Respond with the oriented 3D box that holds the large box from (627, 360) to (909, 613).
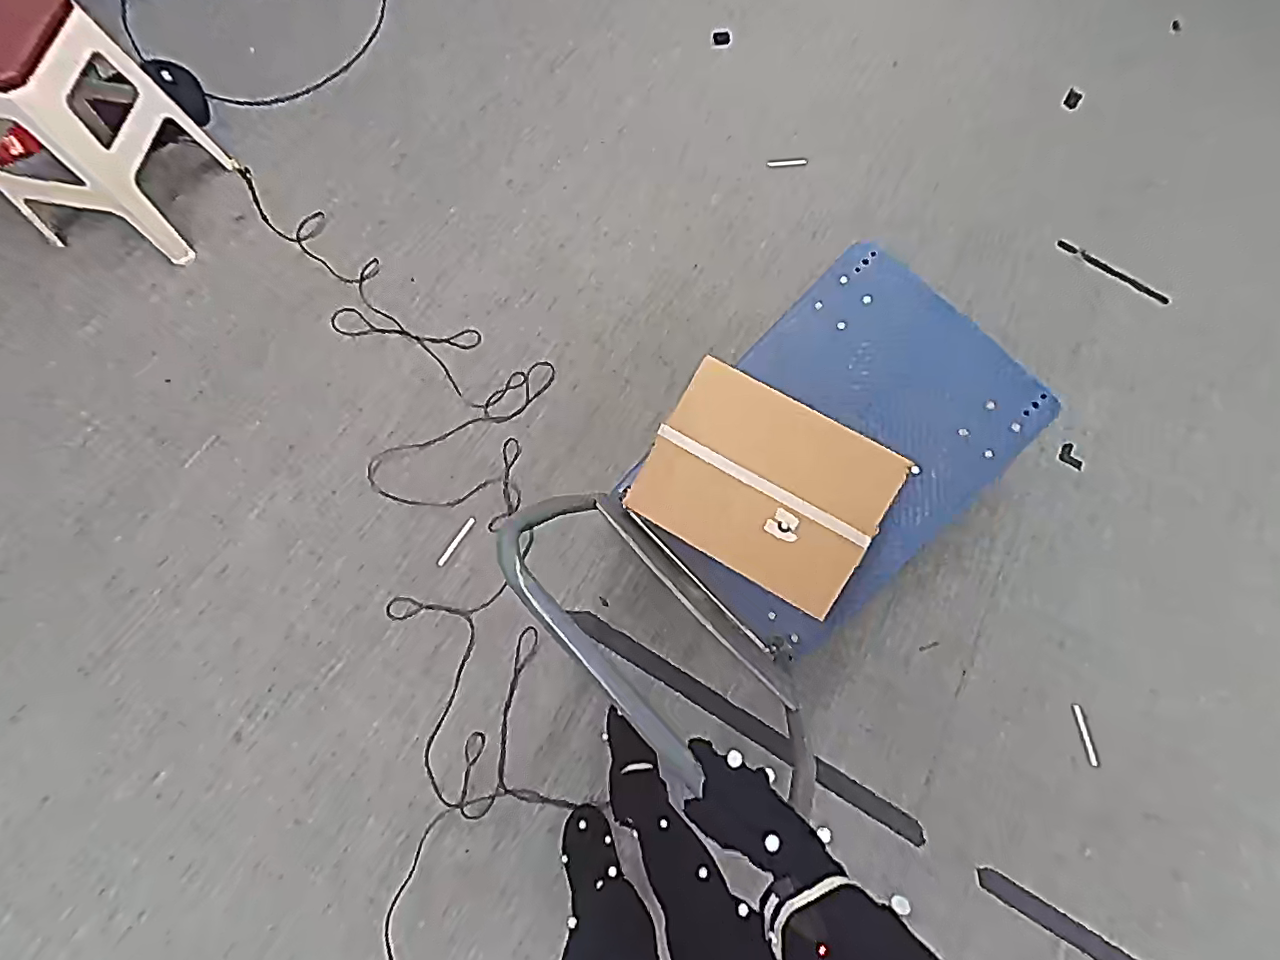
[{"bbox_3d":[0.236,0.012,1.100,0.408,0.320,0.320,29,93,9],"label":"large box"}]
